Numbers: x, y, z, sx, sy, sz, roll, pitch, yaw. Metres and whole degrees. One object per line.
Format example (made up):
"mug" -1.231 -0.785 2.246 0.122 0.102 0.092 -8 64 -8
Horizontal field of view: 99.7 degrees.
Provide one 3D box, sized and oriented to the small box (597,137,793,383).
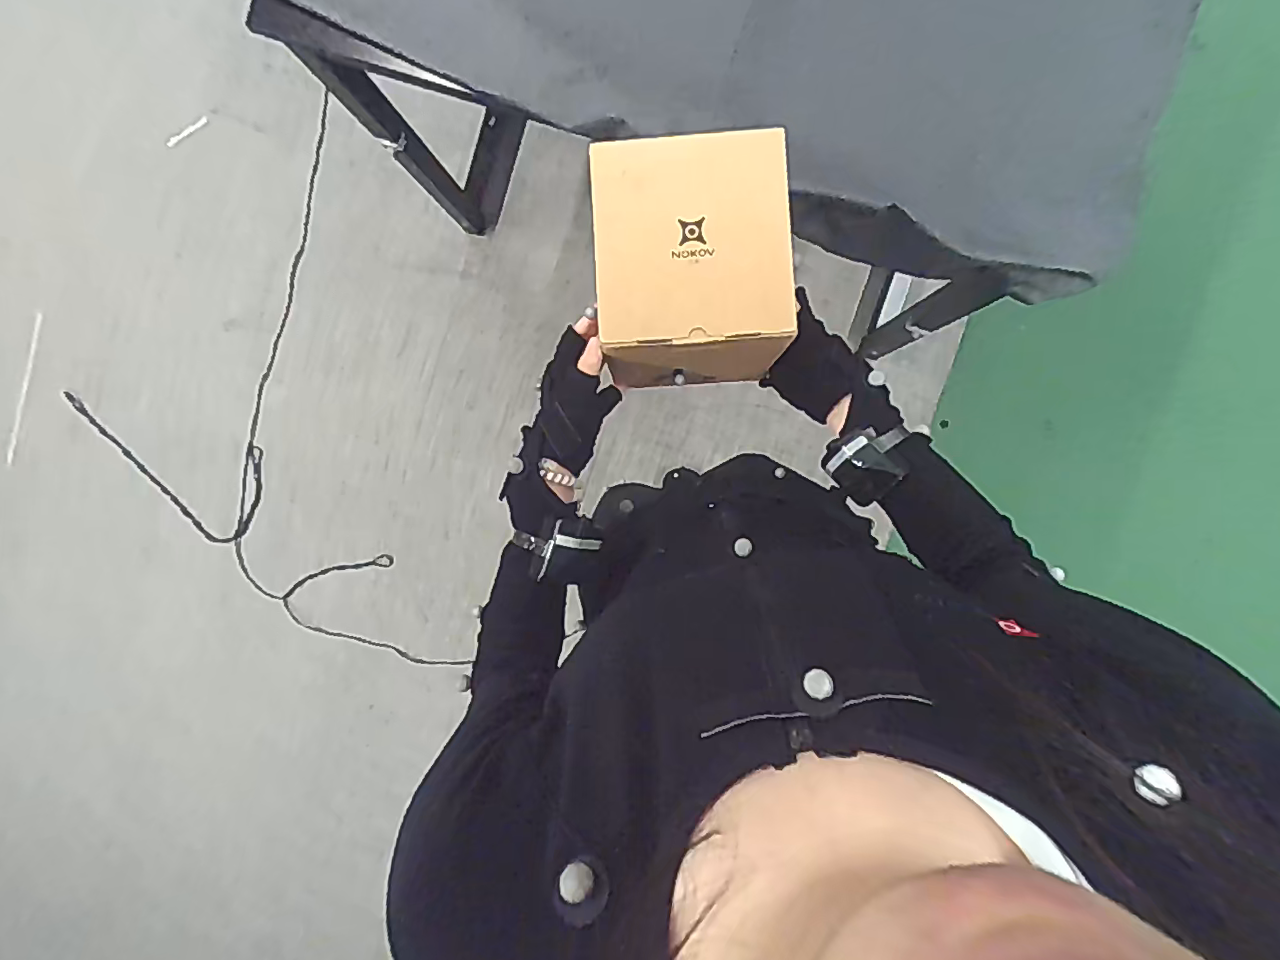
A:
"small box" 0.048 -0.204 0.544 0.168 0.176 0.179 -3 89 2
